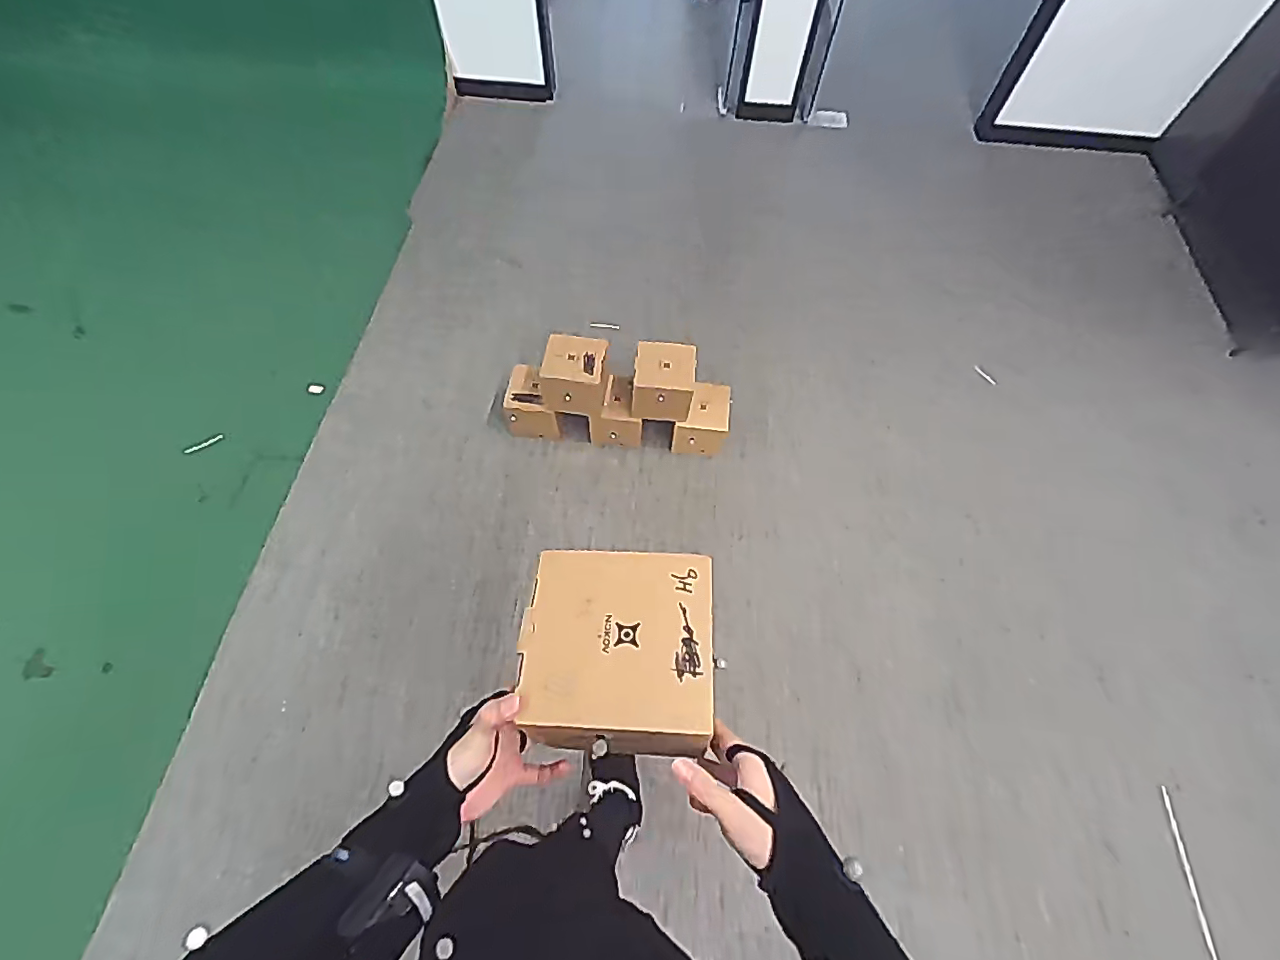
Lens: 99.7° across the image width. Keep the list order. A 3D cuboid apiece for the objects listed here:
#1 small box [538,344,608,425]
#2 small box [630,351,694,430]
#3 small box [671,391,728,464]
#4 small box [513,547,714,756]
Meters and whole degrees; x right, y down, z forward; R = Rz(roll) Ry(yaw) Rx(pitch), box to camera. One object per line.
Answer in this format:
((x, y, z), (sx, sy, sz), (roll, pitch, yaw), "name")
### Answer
((-0.194, -0.284, 1.630), (0.179, 0.176, 0.168), (7, 61, 3), "small box")
((0.064, -0.266, 1.632), (0.179, 0.176, 0.168), (5, 62, -1), "small box")
((0.193, -0.169, 1.770), (0.168, 0.176, 0.179), (6, 61, 2), "small box")
((-0.013, 0.183, 0.566), (0.179, 0.176, 0.168), (1, 56, 5), "small box")
